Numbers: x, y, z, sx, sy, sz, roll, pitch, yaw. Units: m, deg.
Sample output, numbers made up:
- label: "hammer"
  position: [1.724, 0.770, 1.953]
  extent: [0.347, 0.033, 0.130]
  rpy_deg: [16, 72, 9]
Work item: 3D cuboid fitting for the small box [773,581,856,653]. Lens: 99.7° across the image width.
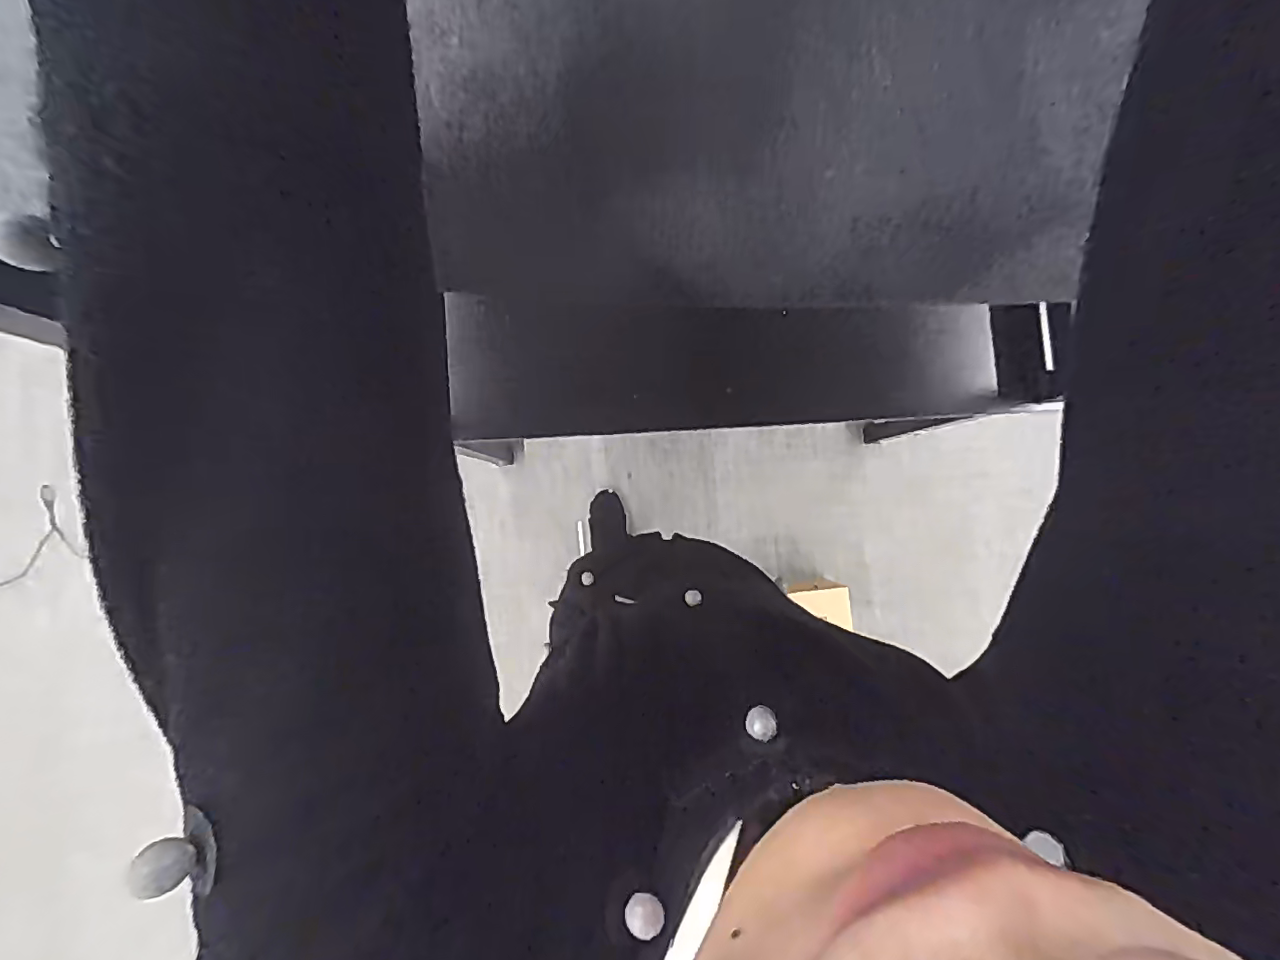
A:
- label: "small box"
  position: [0.501, 0.391, 1.567]
  extent: [0.179, 0.176, 0.168]
  rpy_deg: [-6, 87, -1]
